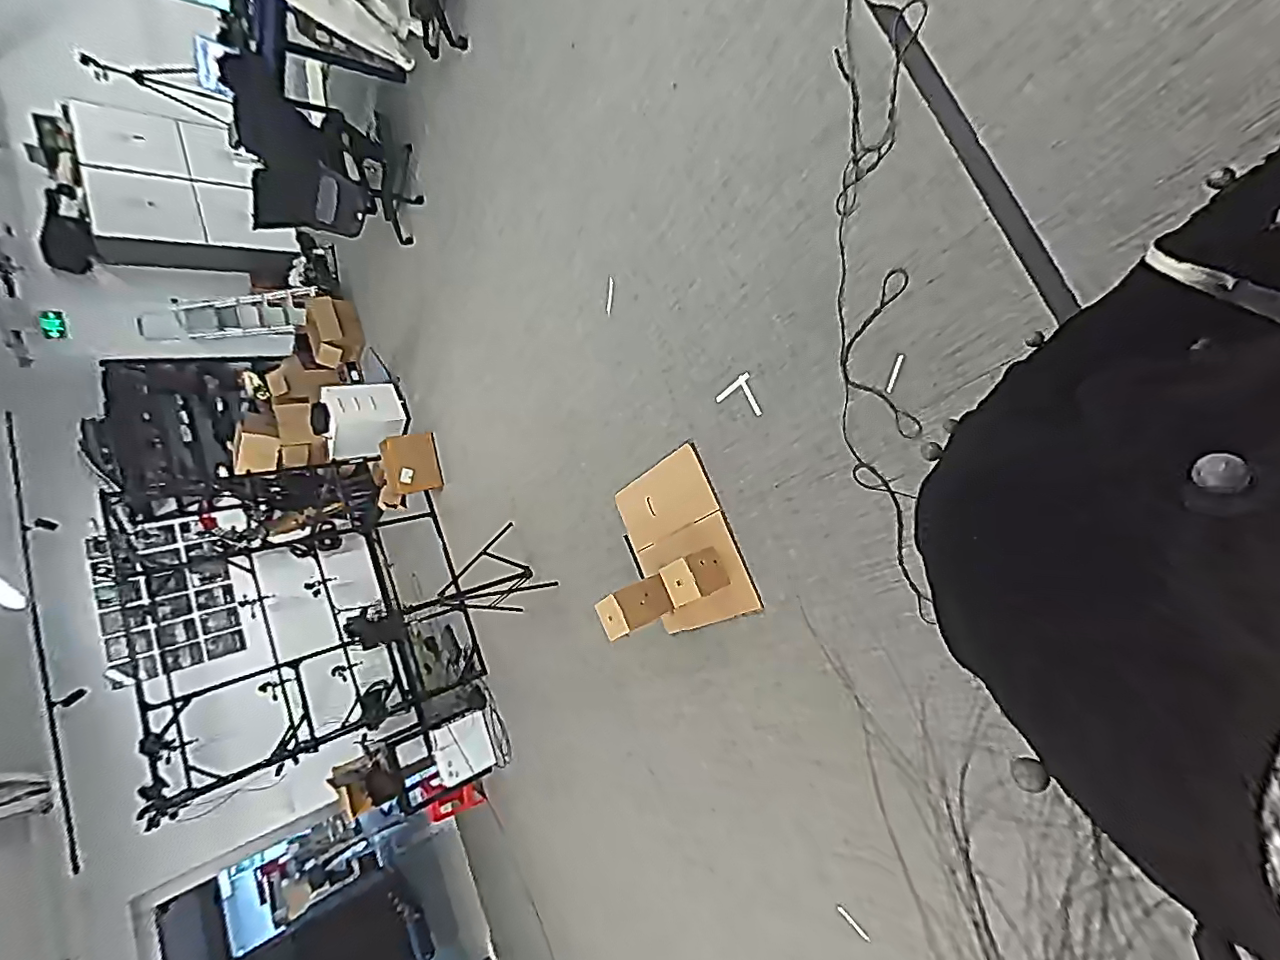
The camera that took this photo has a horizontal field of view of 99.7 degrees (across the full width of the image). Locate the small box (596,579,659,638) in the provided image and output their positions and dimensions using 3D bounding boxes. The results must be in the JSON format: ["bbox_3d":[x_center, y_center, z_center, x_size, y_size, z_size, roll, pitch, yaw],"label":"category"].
[{"bbox_3d":[-0.050,0.529,2.232,0.179,0.176,0.168,-43,68,47],"label":"small box"}]

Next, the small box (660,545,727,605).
[{"bbox_3d":[0.217,0.370,2.126,0.179,0.176,0.168,-39,69,49],"label":"small box"}]

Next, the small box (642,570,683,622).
[{"bbox_3d":[0.074,0.494,2.335,0.179,0.176,0.168,-45,66,46],"label":"small box"}]
